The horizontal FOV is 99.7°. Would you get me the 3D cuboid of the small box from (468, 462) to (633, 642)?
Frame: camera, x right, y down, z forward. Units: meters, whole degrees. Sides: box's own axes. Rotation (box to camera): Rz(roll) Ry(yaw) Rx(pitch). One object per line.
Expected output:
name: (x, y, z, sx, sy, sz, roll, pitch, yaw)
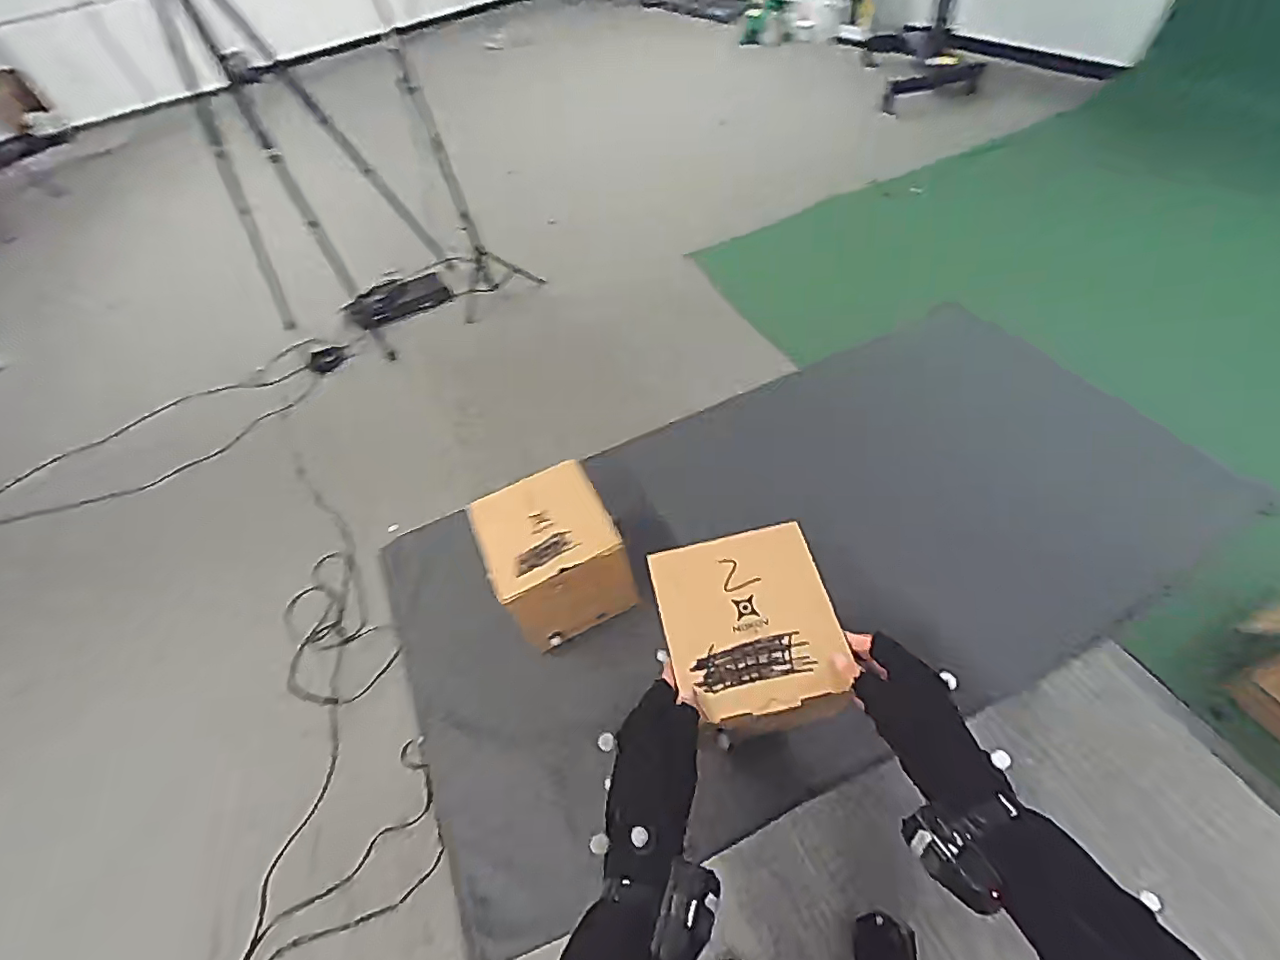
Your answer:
small box: (-0.124, 0.112, 0.785, 0.168, 0.176, 0.179, -25, 51, -11)
